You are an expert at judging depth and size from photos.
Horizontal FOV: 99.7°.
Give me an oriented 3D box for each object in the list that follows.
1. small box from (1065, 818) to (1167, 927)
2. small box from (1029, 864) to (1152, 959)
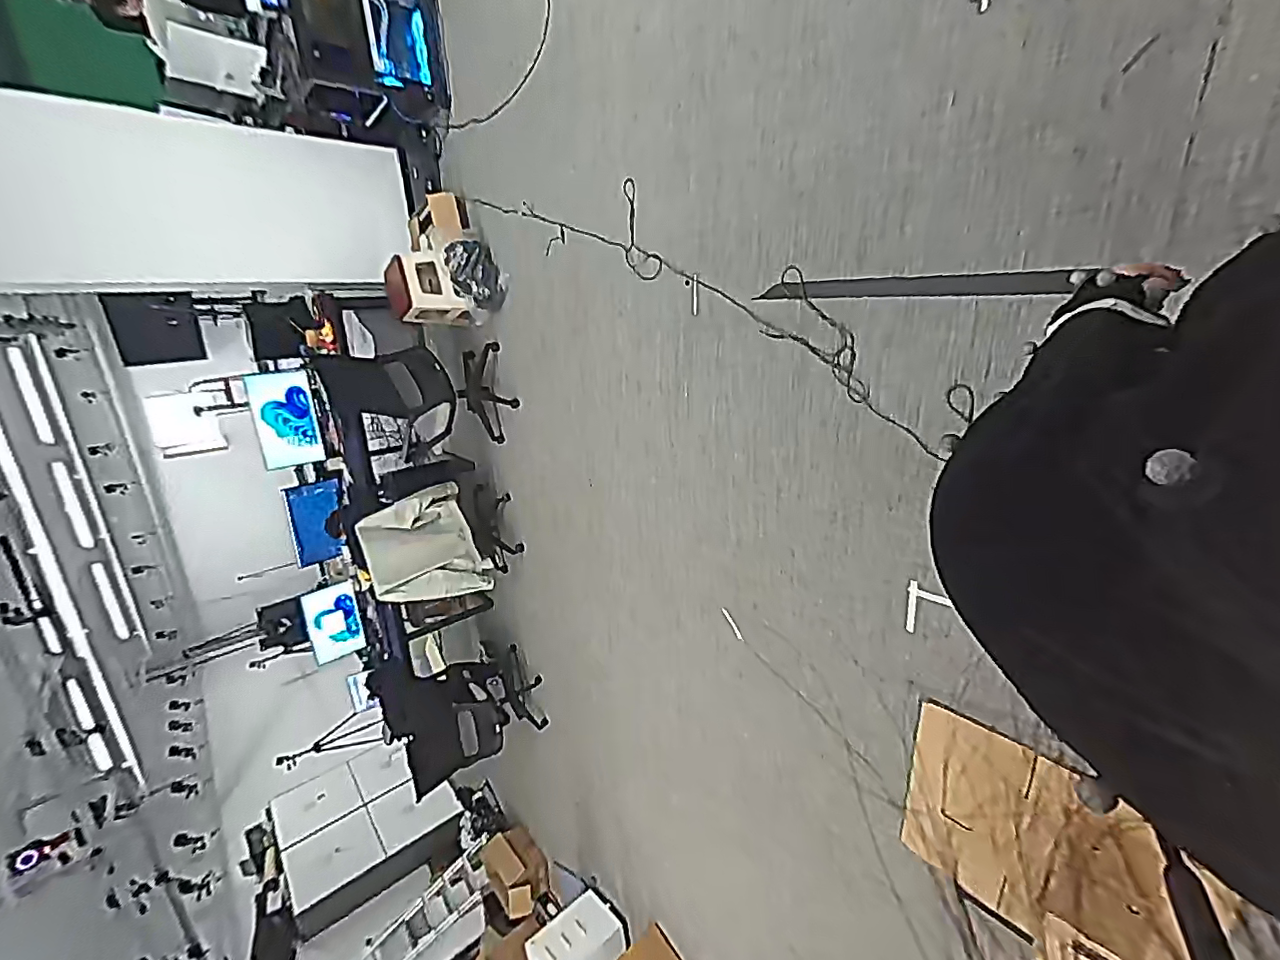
[{"bbox_3d":[1.136,0.972,1.304,0.168,0.176,0.179,16,116,48],"label":"small box"},{"bbox_3d":[1.010,1.022,1.211,0.168,0.176,0.179,20,119,46],"label":"small box"}]
